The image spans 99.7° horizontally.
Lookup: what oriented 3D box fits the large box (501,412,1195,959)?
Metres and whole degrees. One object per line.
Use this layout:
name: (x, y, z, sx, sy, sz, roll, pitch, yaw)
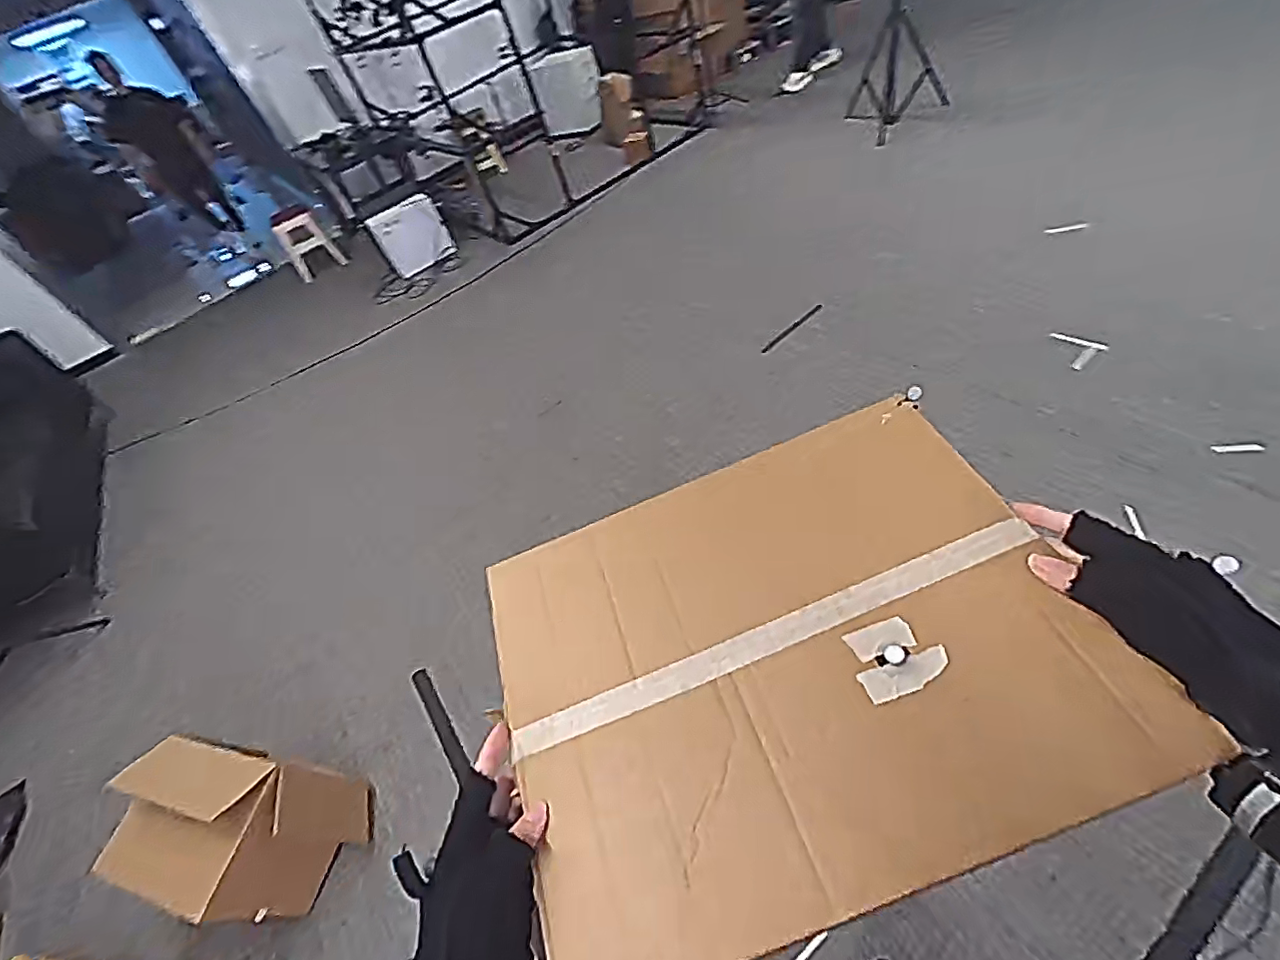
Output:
large box: (0.133, 0.208, 0.521, 0.408, 0.320, 0.320, -22, 53, 0)
